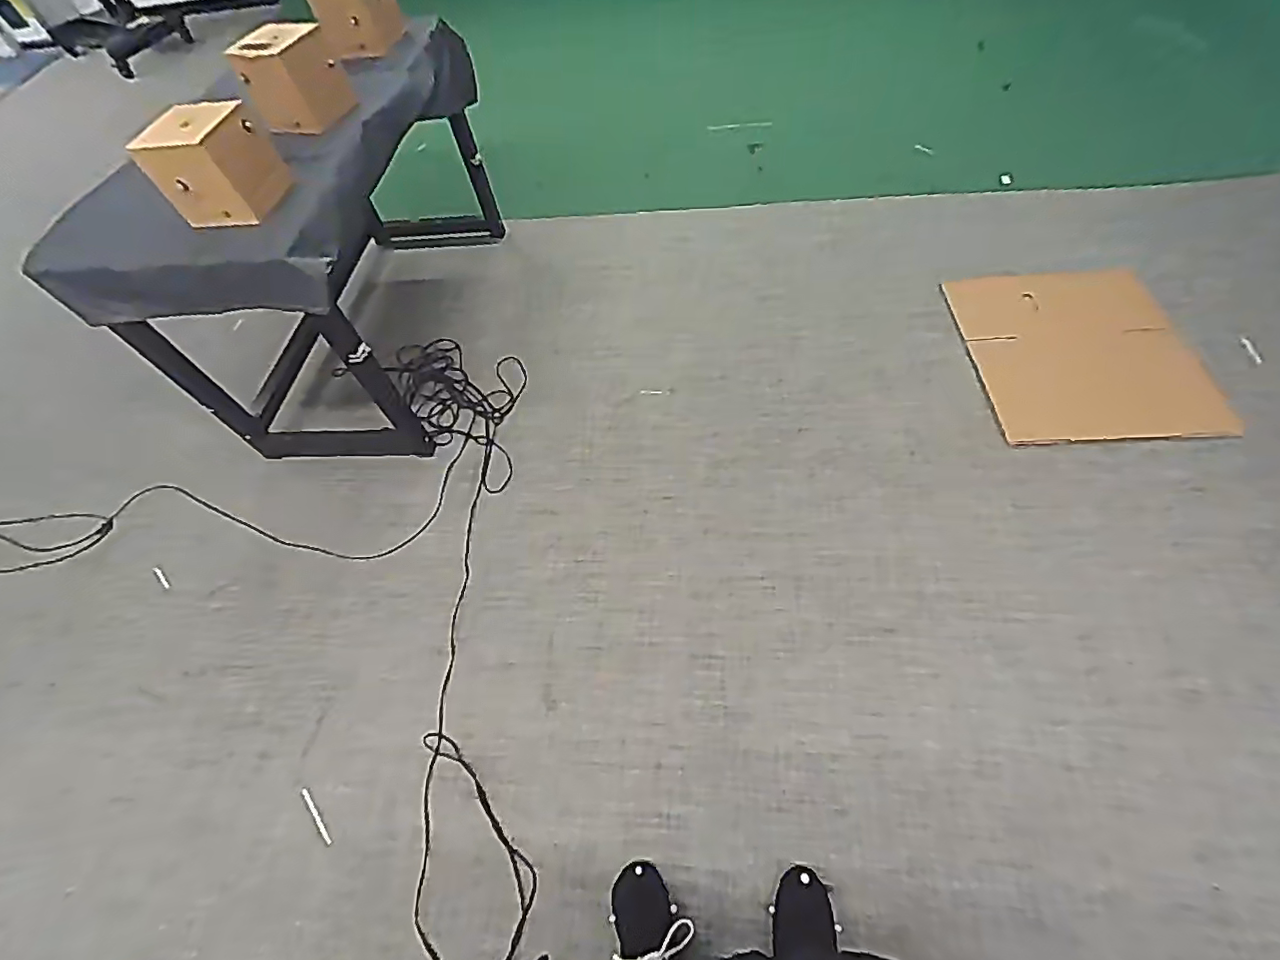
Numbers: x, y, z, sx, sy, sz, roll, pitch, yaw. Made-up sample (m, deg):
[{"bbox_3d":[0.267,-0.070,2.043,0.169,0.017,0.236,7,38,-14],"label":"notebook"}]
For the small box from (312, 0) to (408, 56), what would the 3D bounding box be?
[{"bbox_3d":[-0.803,-1.355,1.561,0.168,0.176,0.179,5,58,9],"label":"small box"}]

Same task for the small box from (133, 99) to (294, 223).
[{"bbox_3d":[-0.877,-0.661,1.134,0.168,0.176,0.179,1,58,8],"label":"small box"}]
